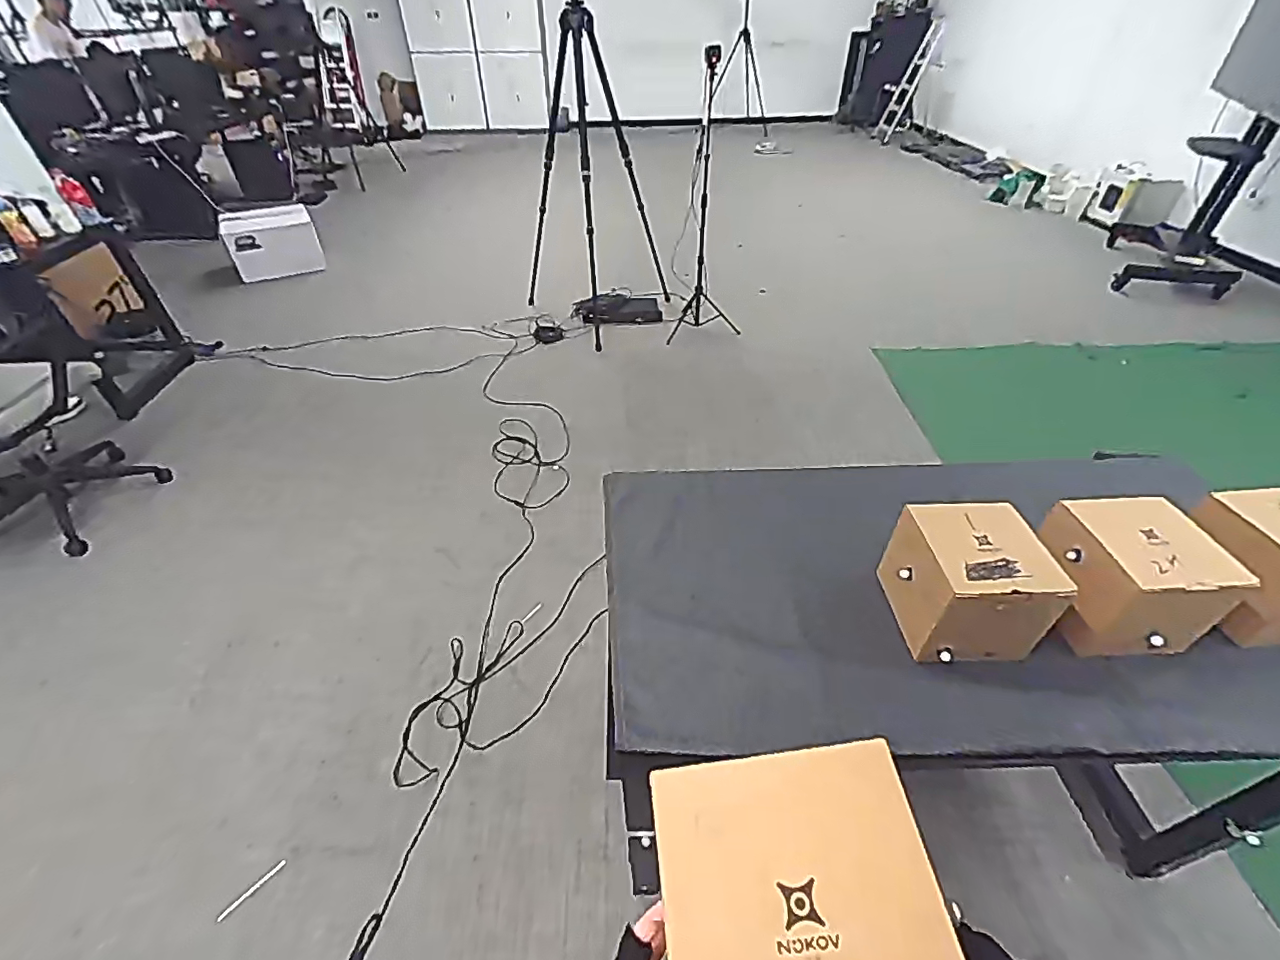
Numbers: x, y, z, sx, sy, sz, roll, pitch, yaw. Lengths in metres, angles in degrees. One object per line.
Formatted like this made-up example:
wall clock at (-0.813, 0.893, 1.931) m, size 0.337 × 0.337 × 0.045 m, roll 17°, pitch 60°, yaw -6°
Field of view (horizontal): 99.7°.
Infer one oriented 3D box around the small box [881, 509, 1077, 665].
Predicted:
small box at (0.494, 0.164, 0.822) m, size 0.168 × 0.176 × 0.179 m, roll -1°, pitch 40°, yaw 0°

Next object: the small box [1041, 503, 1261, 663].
small box at (0.737, 0.156, 0.826) m, size 0.168 × 0.176 × 0.179 m, roll -2°, pitch 41°, yaw -1°

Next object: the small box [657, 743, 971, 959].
small box at (0.108, 0.307, 0.375) m, size 0.168 × 0.176 × 0.179 m, roll -10°, pitch 49°, yaw 2°
